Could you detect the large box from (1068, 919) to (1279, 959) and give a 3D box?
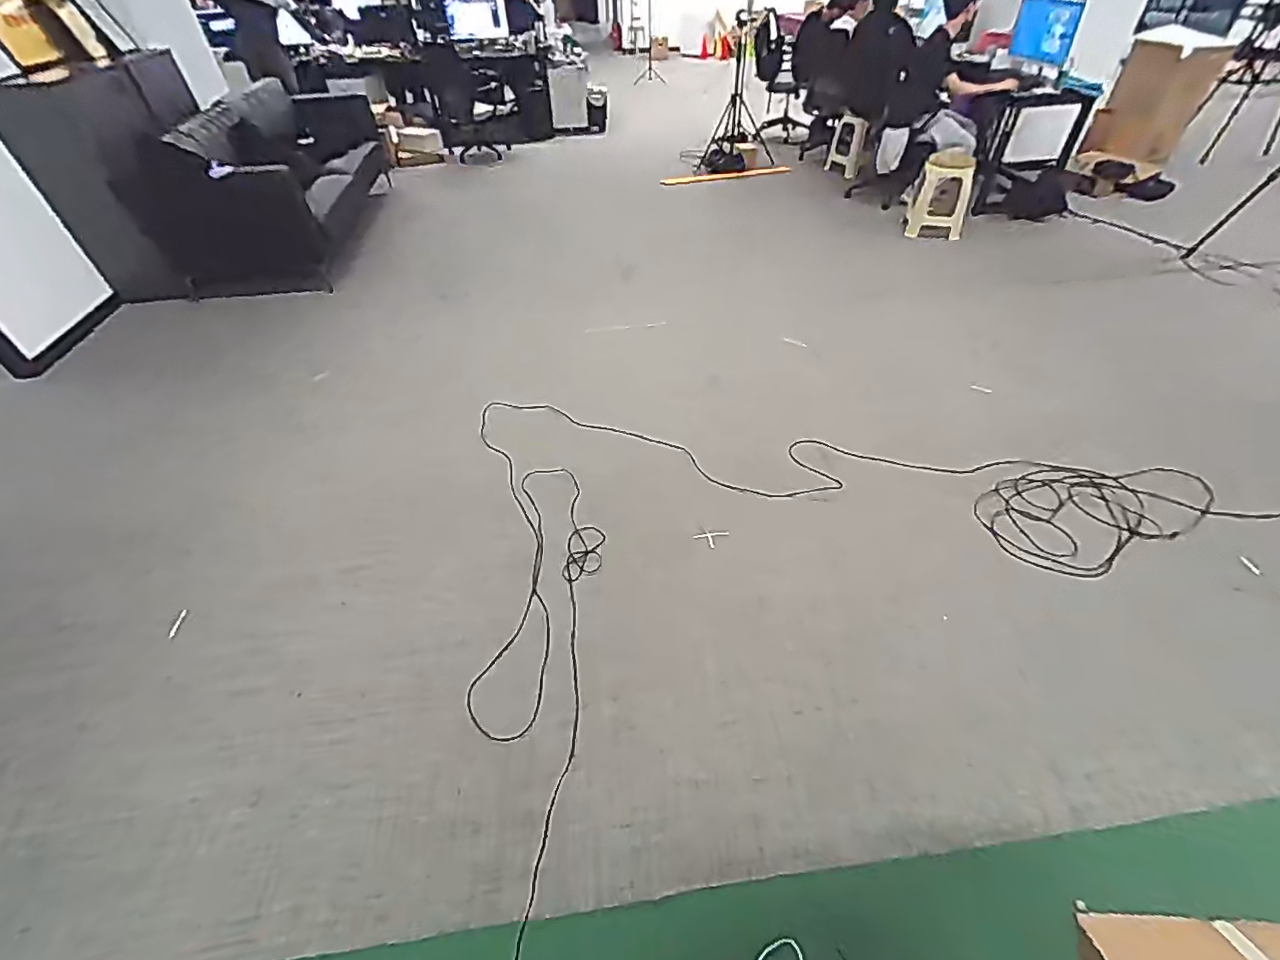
[{"bbox_3d":[0.686,0.714,0.484,0.320,0.320,0.408,-4,0,11],"label":"large box"}]
